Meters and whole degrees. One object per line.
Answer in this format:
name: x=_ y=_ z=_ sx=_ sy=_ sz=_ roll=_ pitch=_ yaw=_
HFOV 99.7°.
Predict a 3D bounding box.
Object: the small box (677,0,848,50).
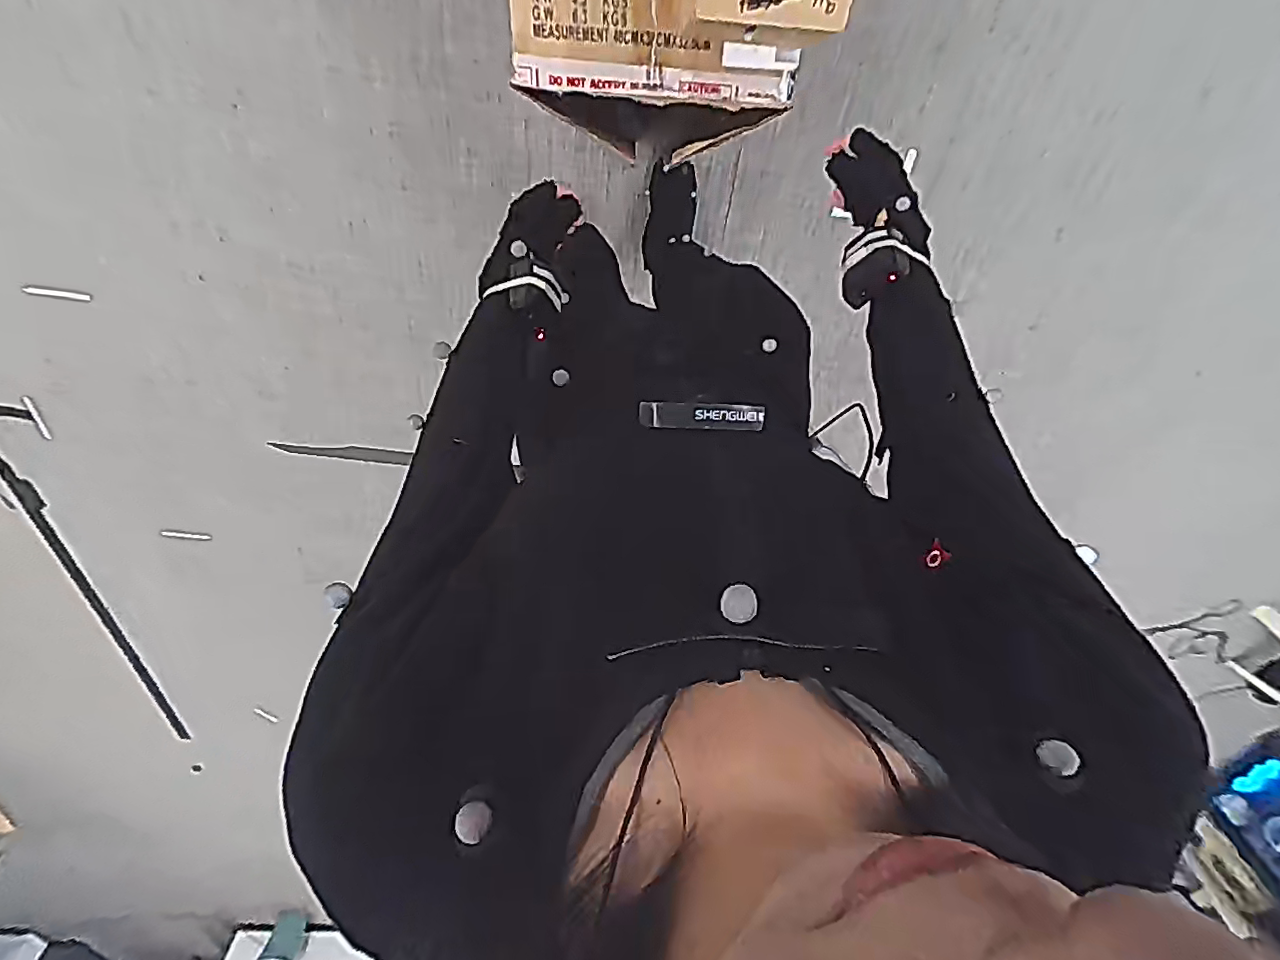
small box: x=0.136 y=-0.599 z=0.591 sx=0.168 sy=0.176 sz=0.179 roll=2 pitch=123 yaw=-5
